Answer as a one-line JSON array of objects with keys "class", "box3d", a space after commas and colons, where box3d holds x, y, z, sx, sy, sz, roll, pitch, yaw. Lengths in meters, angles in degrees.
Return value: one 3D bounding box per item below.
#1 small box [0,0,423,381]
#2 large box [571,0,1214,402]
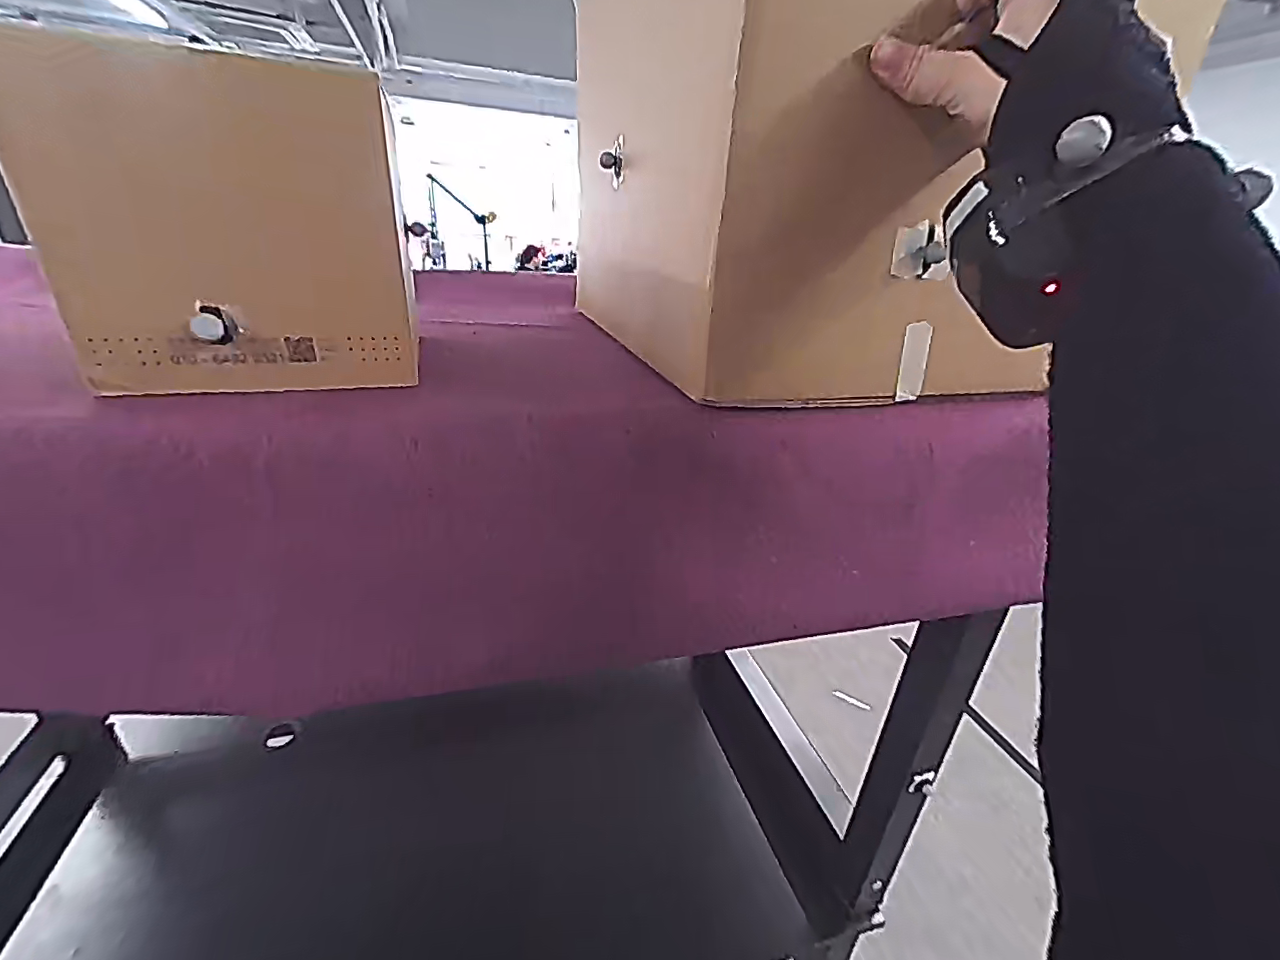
[{"class": "small box", "box3d": [-0.240, -0.167, 0.352, 0.168, 0.176, 0.179, -6, 27, -19]}, {"class": "large box", "box3d": [0.131, -0.273, 0.470, 0.320, 0.320, 0.408, -4, 25, -17]}]
